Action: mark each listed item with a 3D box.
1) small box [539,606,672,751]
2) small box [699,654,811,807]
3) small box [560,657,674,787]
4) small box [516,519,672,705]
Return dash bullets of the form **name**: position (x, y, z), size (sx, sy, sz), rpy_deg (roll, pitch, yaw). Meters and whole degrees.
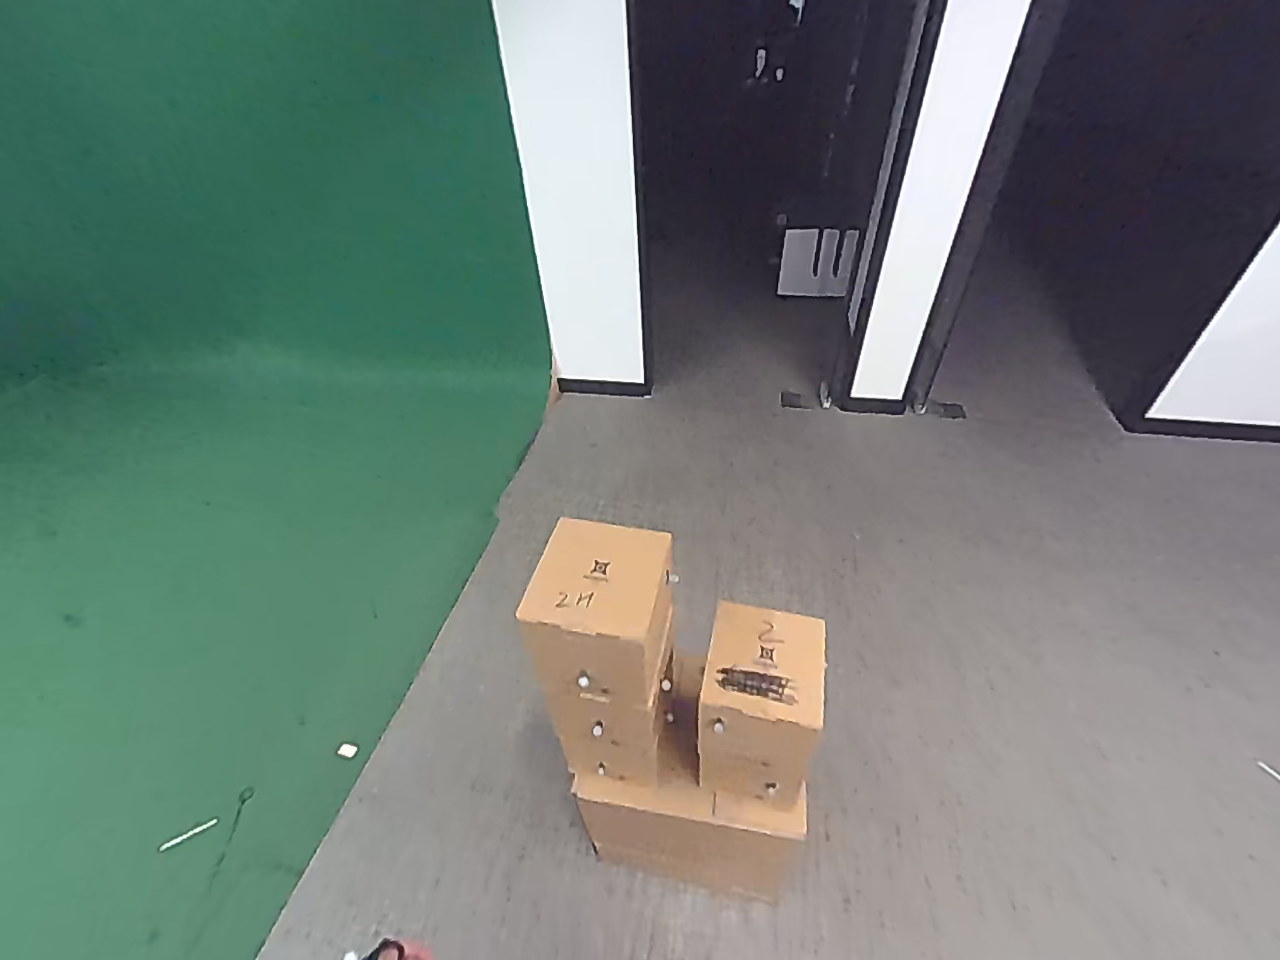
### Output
- **small box**: position (-0.042, 0.306, 0.867), size (0.168, 0.176, 0.179), rpy_deg (8, 45, 11)
- **small box**: position (0.200, 0.438, 0.945), size (0.168, 0.176, 0.179), rpy_deg (7, 42, 14)
- **small box**: position (-0.034, 0.424, 0.981), size (0.168, 0.176, 0.179), rpy_deg (7, 44, 10)
- **small box**: position (-0.052, 0.183, 0.758), size (0.168, 0.176, 0.179), rpy_deg (7, 44, 11)
